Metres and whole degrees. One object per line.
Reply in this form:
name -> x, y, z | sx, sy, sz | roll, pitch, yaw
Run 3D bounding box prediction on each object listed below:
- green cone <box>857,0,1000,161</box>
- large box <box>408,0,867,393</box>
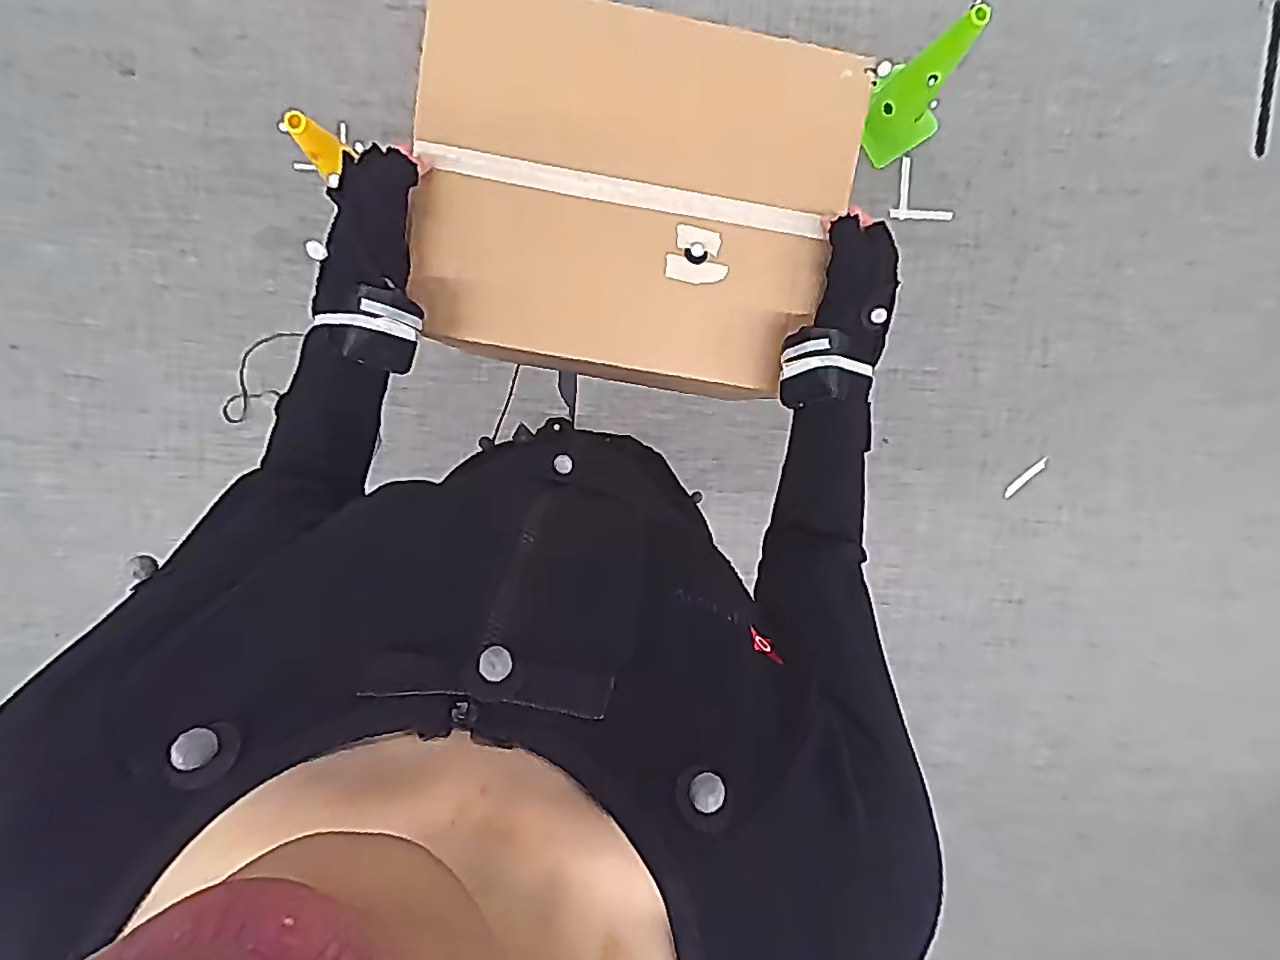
green cone -> 0.672, -0.947, 1.239 | 0.202, 0.368, 0.200 | -34, 97, -1
large box -> -0.014, -0.291, 0.655 | 0.408, 0.320, 0.320 | 9, 98, -4
